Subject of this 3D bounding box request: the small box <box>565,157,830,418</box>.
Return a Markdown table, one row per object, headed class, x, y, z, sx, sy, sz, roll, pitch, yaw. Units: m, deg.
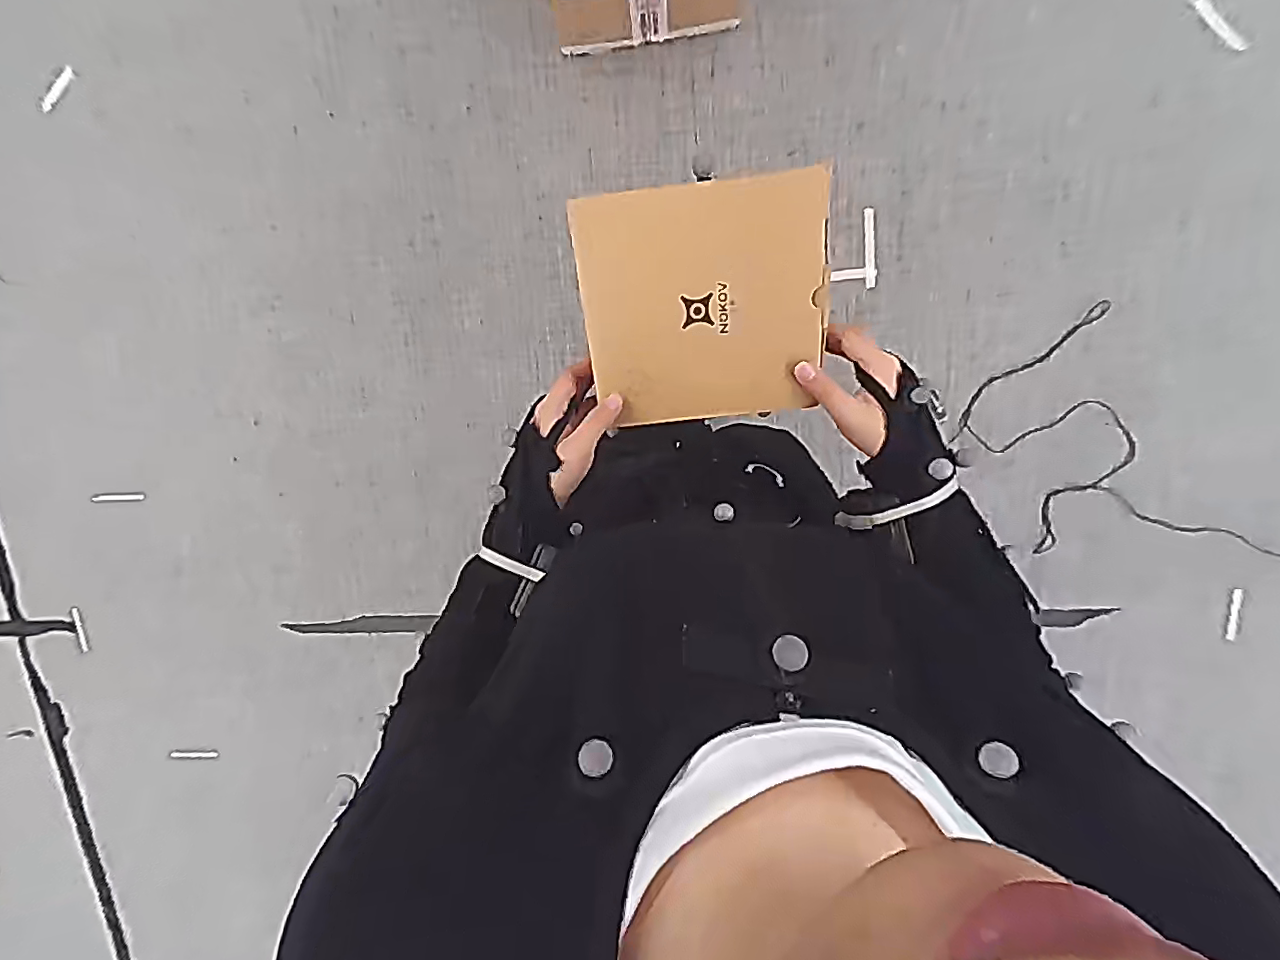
| class | x | y | z | sx | sy | sz | roll | pitch | yaw |
| --- | --- | --- | --- | --- | --- | --- | --- | --- | --- |
| small box | 0.045 | -0.163 | 0.458 | 0.179 | 0.176 | 0.168 | -6 | 117 | 3 |
